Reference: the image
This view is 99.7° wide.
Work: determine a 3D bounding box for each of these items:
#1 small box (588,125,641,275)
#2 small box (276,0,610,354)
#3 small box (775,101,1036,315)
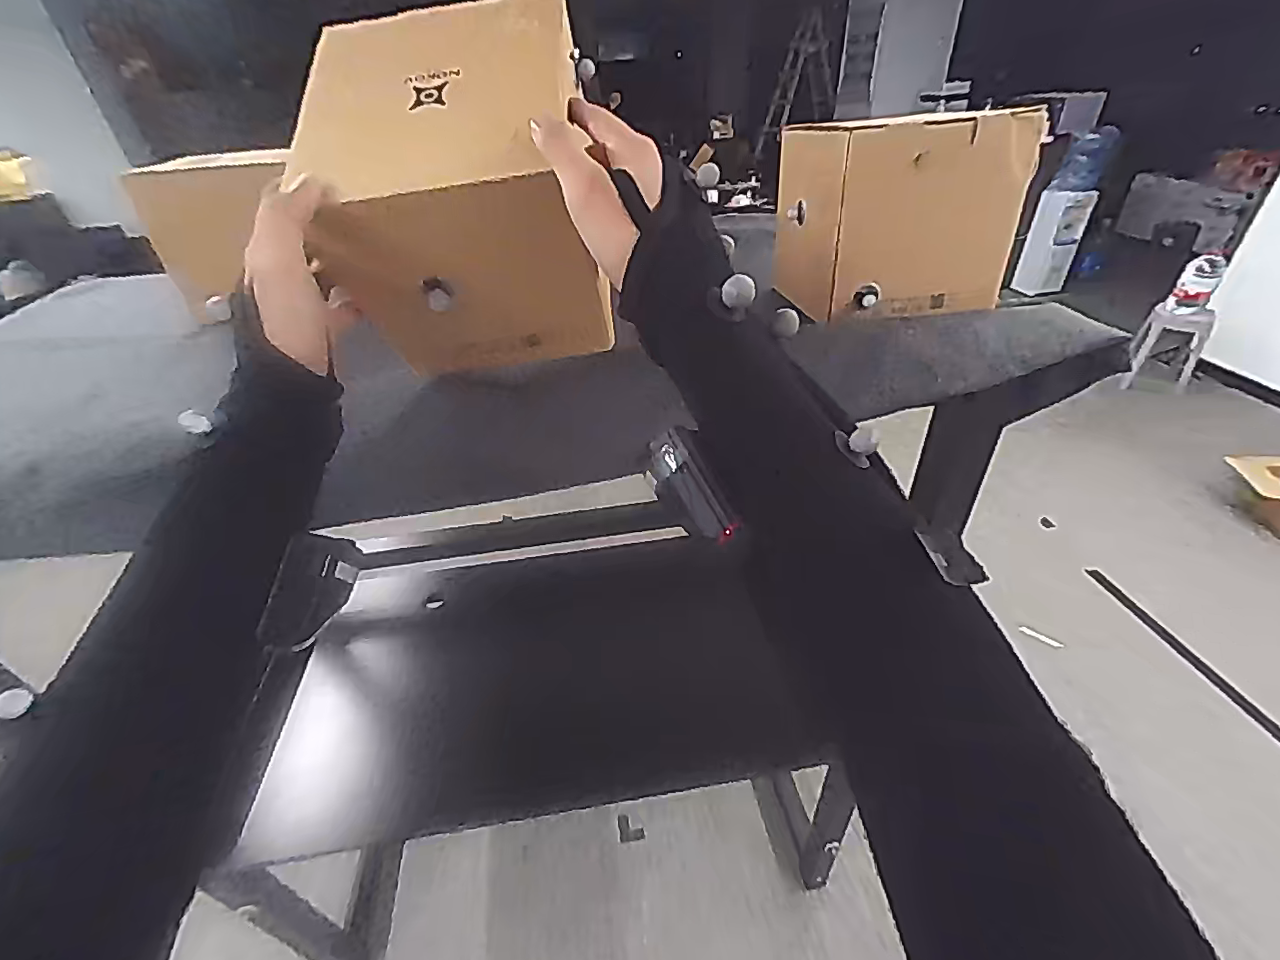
[{"bbox_3d":[-0.094,-0.389,0.755,0.168,0.176,0.179,-8,36,-5],"label":"small box"},{"bbox_3d":[-0.118,-0.210,0.398,0.168,0.176,0.179,-7,66,4],"label":"small box"},{"bbox_3d":[0.244,-0.272,0.551,0.168,0.176,0.179,-6,32,-3],"label":"small box"}]
